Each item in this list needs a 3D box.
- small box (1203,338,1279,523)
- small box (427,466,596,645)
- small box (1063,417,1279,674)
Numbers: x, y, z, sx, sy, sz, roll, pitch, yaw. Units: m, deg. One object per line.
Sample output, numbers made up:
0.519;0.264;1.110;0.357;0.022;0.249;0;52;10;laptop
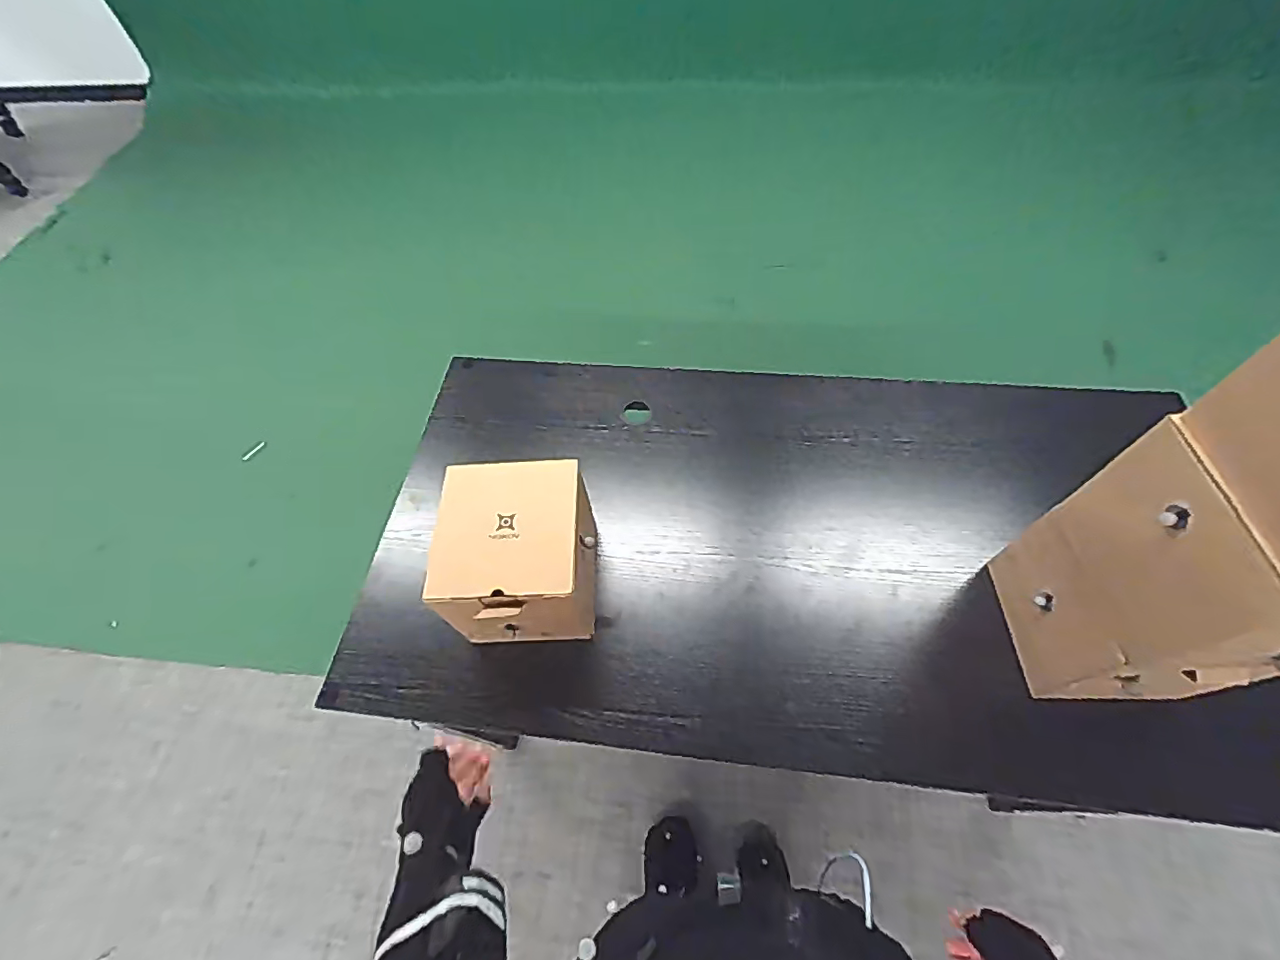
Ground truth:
0.524;-0.033;0.321;0.168;0.176;0.179;-3;58;2;small box
-0.149;0.100;0.693;0.168;0.176;0.179;-3;60;1;small box
0.529;0.060;0.475;0.168;0.176;0.179;-3;58;3;small box
